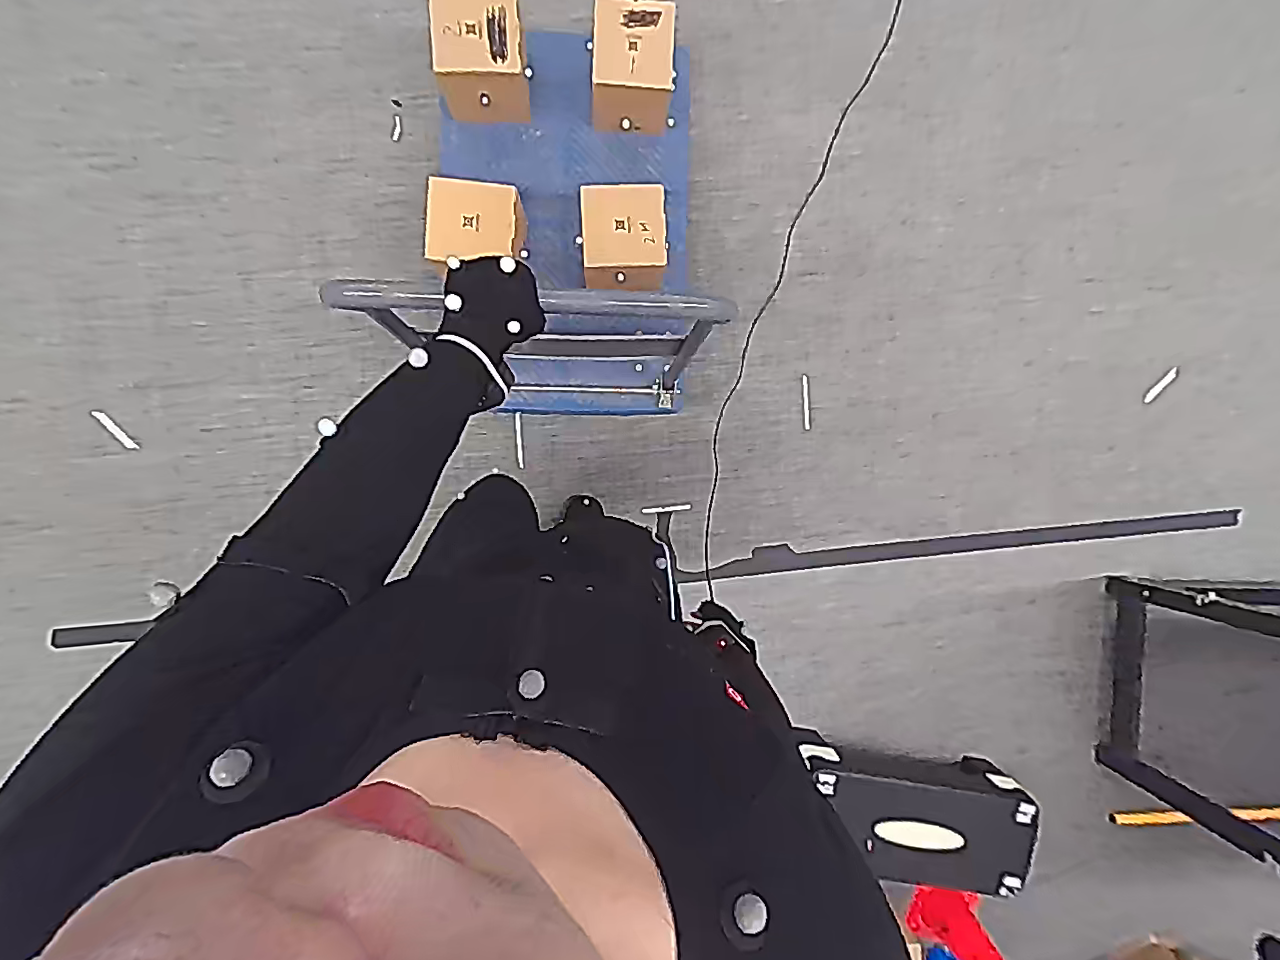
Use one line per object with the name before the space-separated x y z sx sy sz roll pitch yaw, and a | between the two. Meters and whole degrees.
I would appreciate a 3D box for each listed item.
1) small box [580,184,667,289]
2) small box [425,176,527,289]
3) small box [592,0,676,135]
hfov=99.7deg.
small box | -0.038 -0.528 1.192 0.179 0.176 0.168 -3 93 -4
small box | -0.347 -0.524 1.169 0.179 0.176 0.168 3 92 -6
small box | -0.018 -0.895 1.176 0.168 0.176 0.179 2 94 -5
